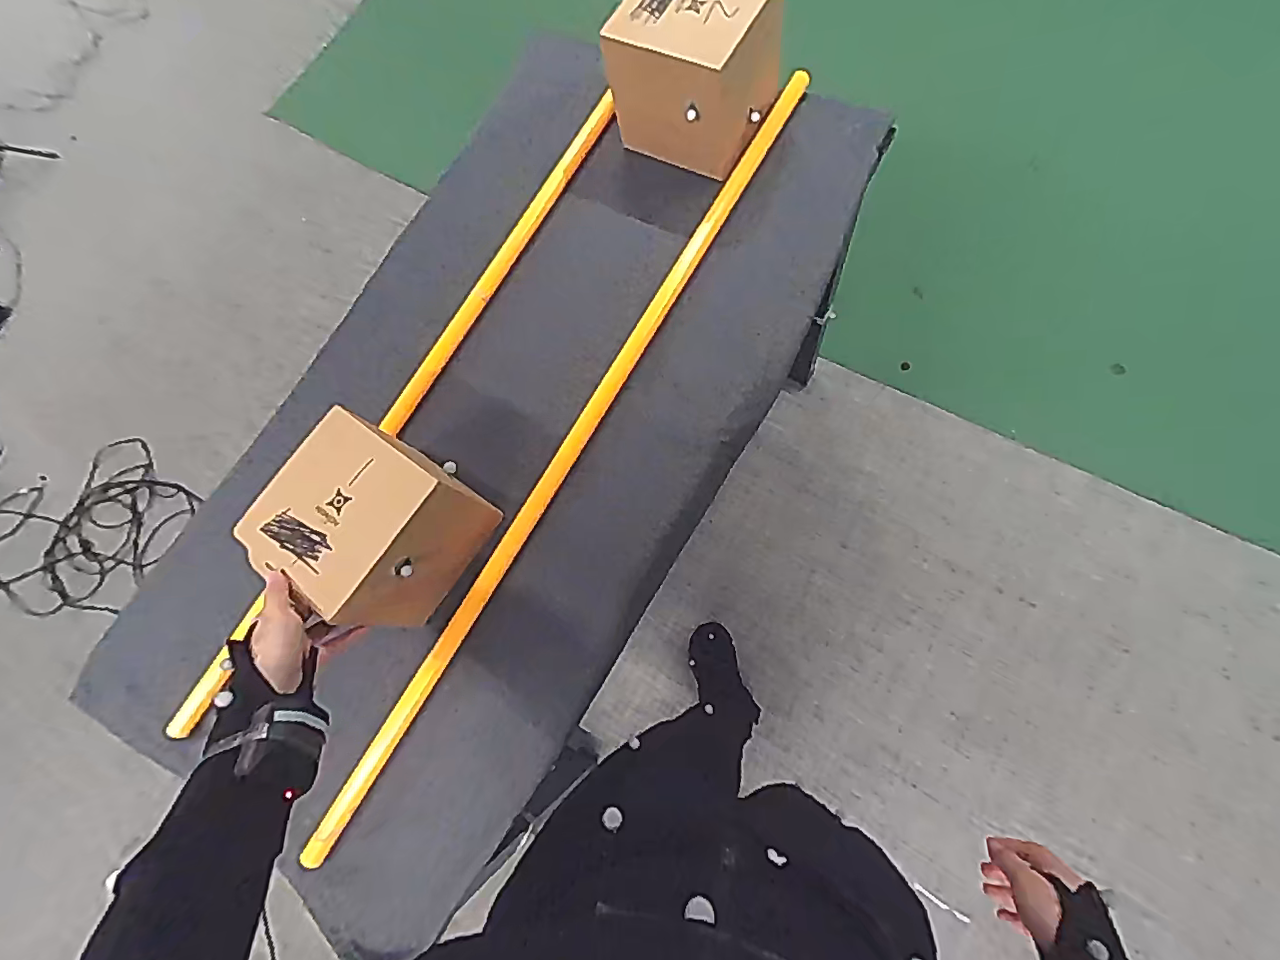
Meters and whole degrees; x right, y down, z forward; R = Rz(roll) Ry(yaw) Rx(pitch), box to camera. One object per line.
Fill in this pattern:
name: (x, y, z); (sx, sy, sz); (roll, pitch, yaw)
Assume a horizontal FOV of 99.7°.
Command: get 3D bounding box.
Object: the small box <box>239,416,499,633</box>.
small box: (-0.298, 0.062, 0.634); (0.168, 0.176, 0.179); (33, 81, 17)
